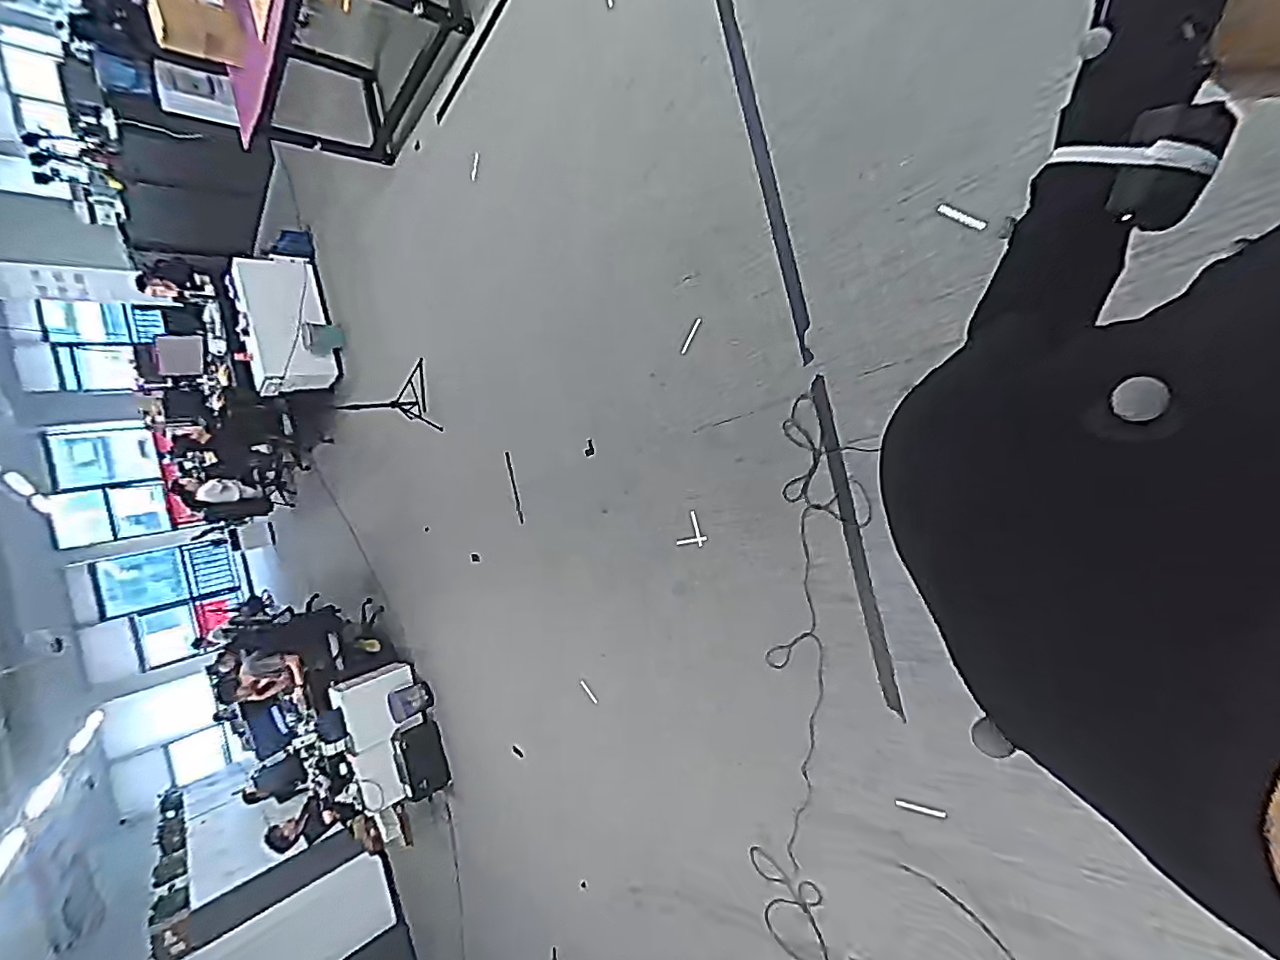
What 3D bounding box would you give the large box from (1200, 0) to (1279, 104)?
[{"bbox_3d":[0.602,-0.394,0.250,0.408,0.320,0.320,24,129,40],"label":"large box"}]
